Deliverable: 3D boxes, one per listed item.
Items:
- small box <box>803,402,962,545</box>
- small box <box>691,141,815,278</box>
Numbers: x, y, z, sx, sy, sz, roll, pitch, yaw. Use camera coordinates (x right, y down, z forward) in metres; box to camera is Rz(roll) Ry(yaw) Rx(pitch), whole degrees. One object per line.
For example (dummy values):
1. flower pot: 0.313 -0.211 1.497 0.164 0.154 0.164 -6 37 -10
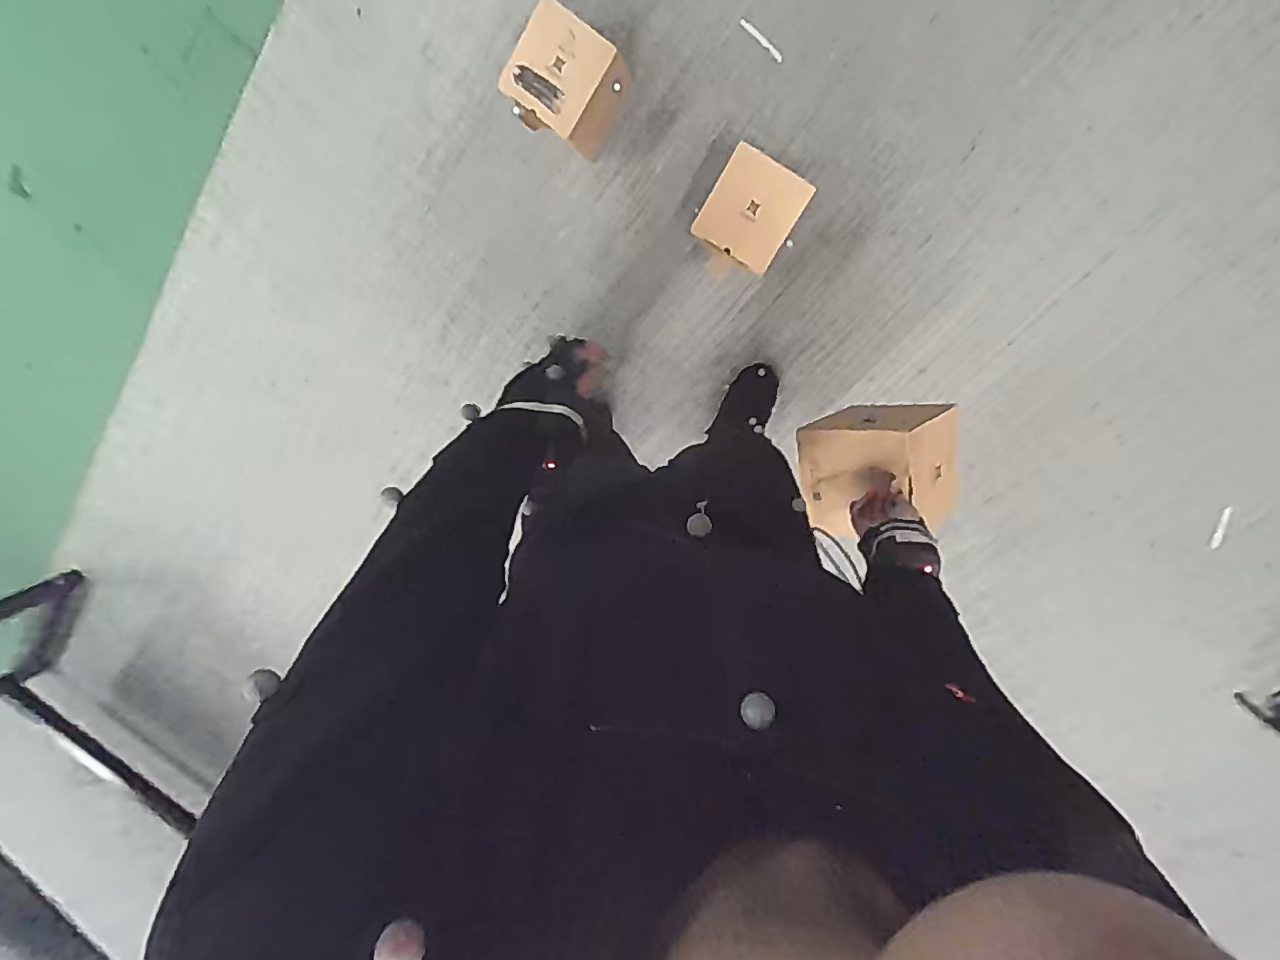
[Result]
1. small box: 0.359 -0.018 0.812 0.176 0.179 0.168 7 112 48
2. small box: 0.219 -0.525 1.078 0.168 0.176 0.179 32 111 -1
